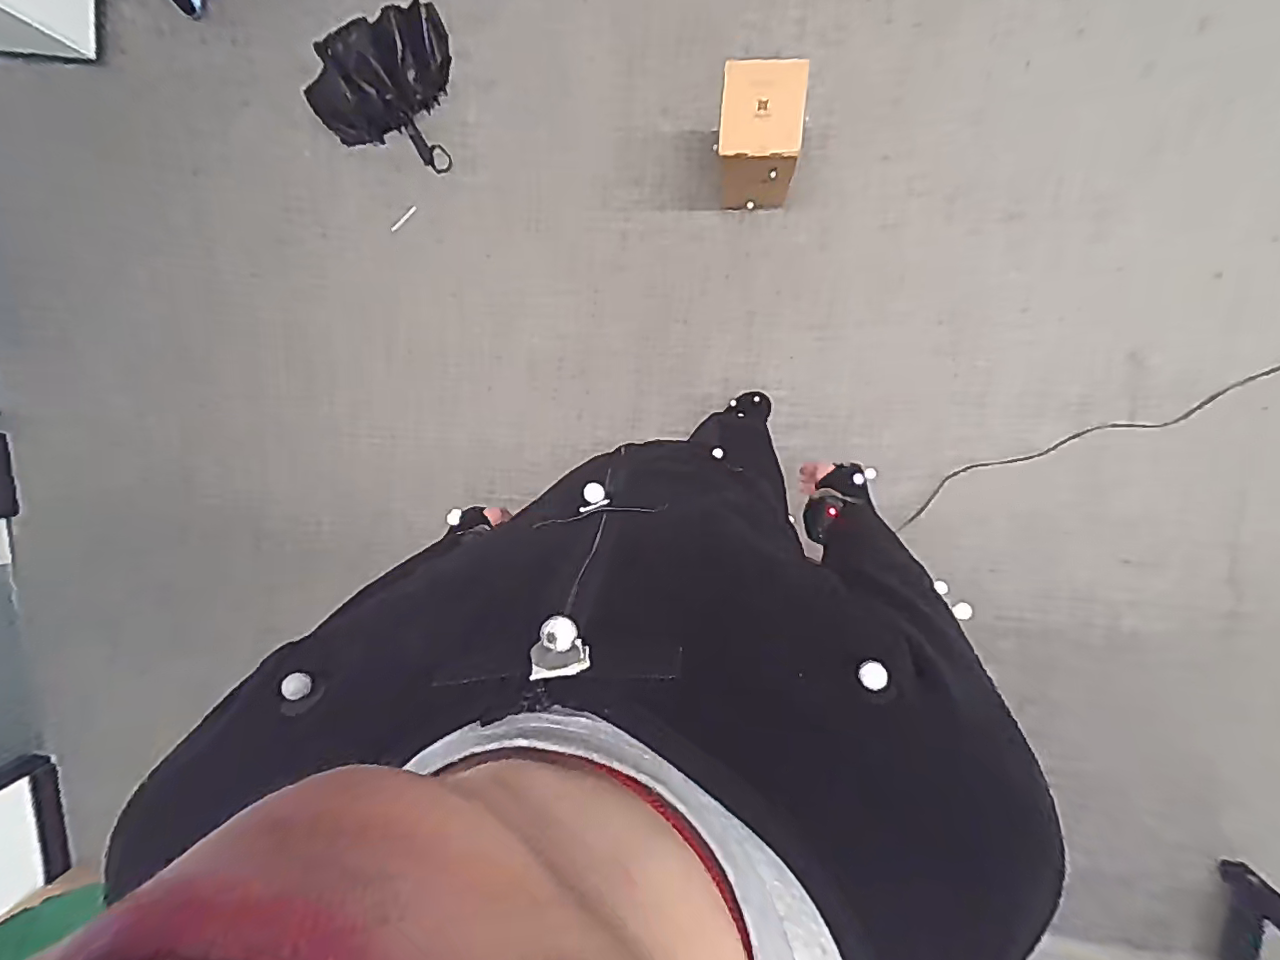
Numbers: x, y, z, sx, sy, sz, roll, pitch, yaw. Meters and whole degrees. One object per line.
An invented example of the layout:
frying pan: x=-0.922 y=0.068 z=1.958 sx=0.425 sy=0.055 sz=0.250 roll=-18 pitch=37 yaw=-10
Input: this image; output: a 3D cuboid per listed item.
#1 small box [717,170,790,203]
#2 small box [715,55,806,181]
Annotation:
small box: x=0.272 y=-0.784 z=1.298 sx=0.168 sy=0.176 sz=0.179 roll=3 pitch=102 yaw=8
small box: x=0.247 y=-0.751 z=1.141 sx=0.168 sy=0.176 sz=0.179 roll=4 pitch=100 yaw=7
